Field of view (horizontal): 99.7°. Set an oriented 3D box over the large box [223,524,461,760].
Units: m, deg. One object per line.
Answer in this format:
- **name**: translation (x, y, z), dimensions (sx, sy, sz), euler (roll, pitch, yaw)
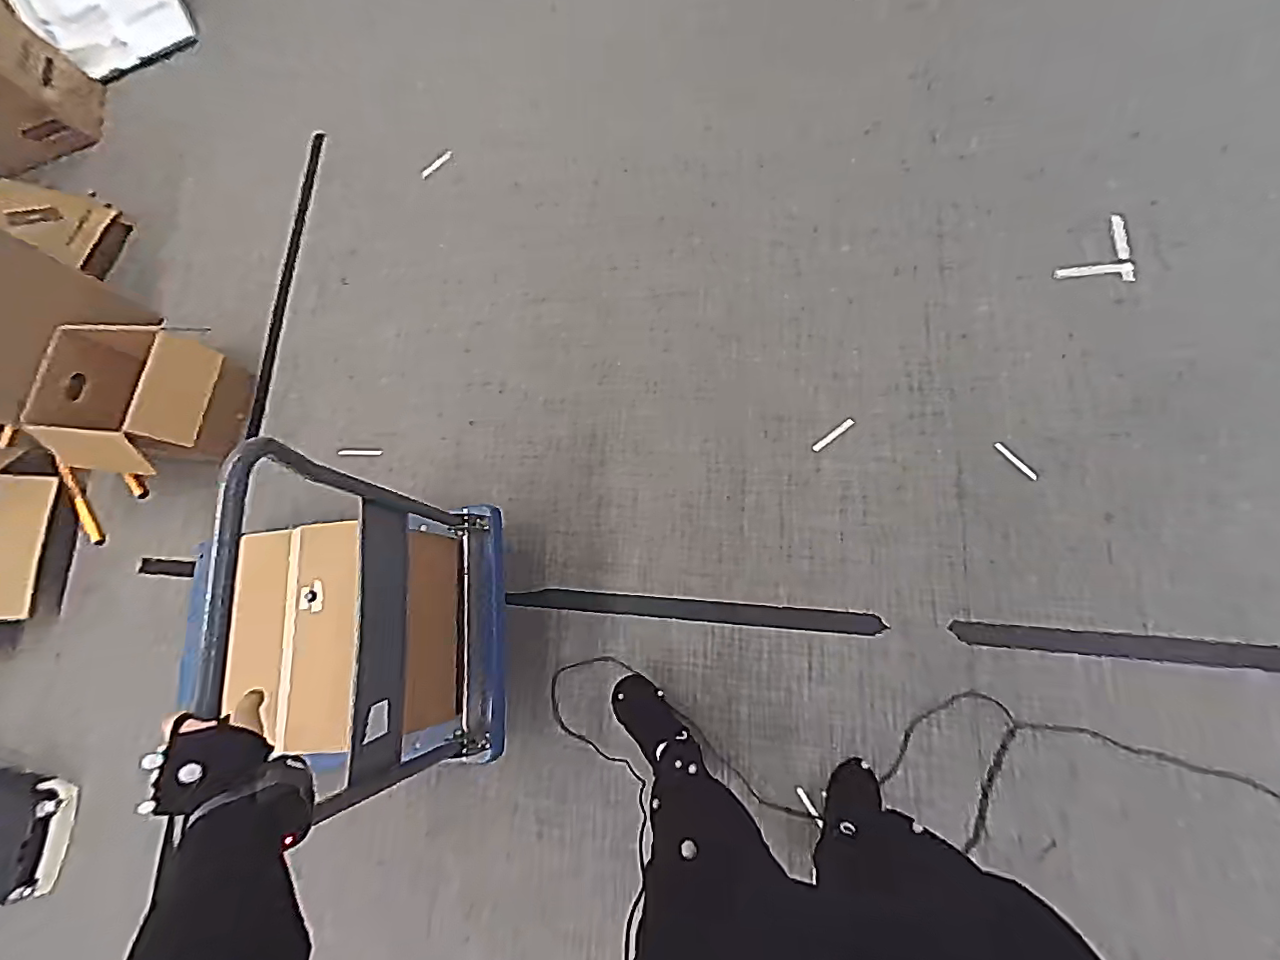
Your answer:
- **large box**: translation (-0.595, 0.332, 1.142), dimensions (0.320, 0.320, 0.408), euler (-8, 74, 11)
